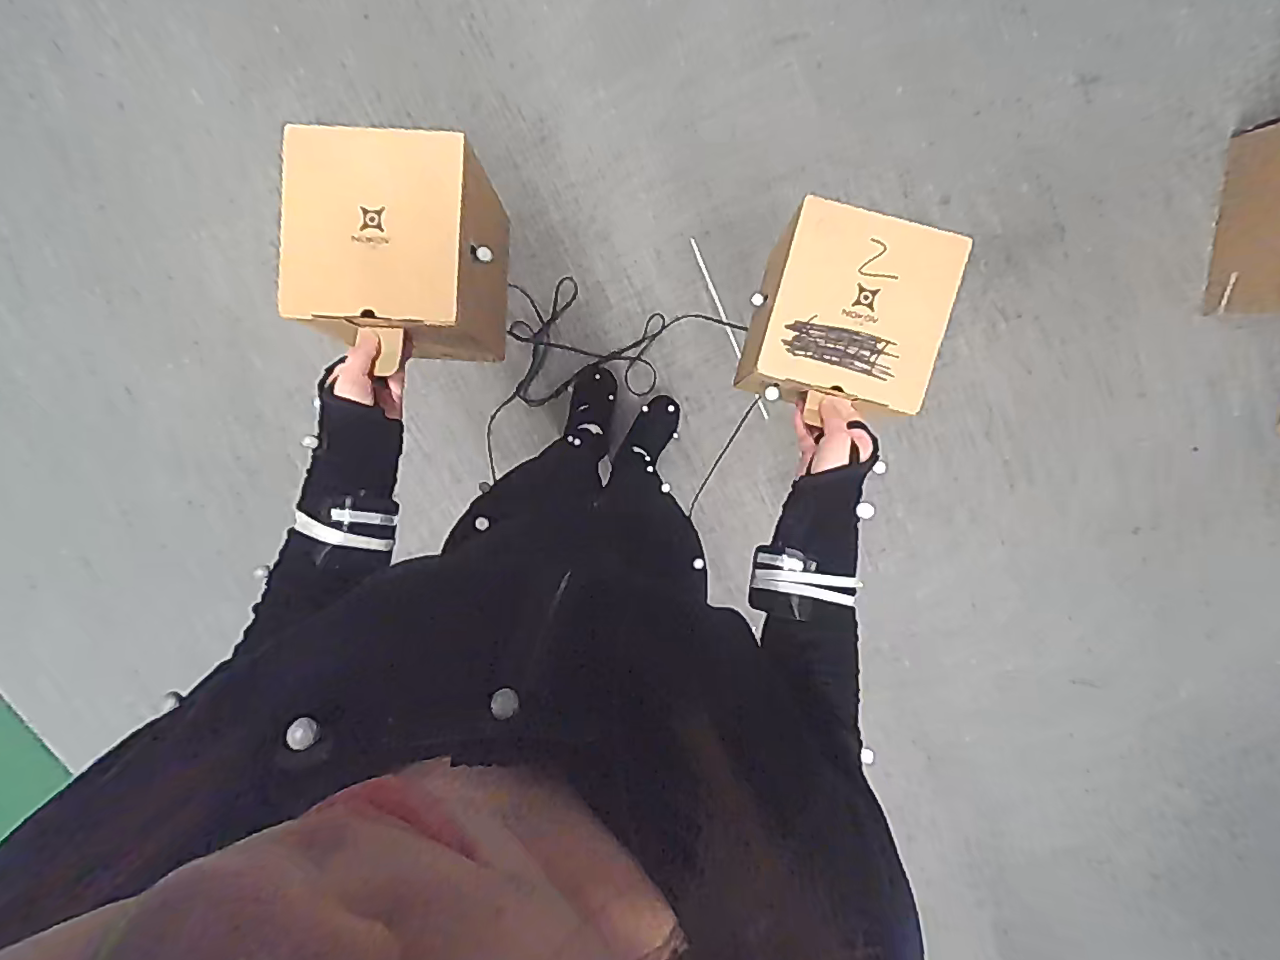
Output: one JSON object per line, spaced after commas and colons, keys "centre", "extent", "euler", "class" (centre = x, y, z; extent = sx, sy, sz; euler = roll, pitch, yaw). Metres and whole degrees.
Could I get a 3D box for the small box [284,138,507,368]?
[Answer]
{"centre": [-0.247, -0.229, 0.586], "extent": [0.168, 0.176, 0.179], "euler": [3, 91, 0], "class": "small box"}
